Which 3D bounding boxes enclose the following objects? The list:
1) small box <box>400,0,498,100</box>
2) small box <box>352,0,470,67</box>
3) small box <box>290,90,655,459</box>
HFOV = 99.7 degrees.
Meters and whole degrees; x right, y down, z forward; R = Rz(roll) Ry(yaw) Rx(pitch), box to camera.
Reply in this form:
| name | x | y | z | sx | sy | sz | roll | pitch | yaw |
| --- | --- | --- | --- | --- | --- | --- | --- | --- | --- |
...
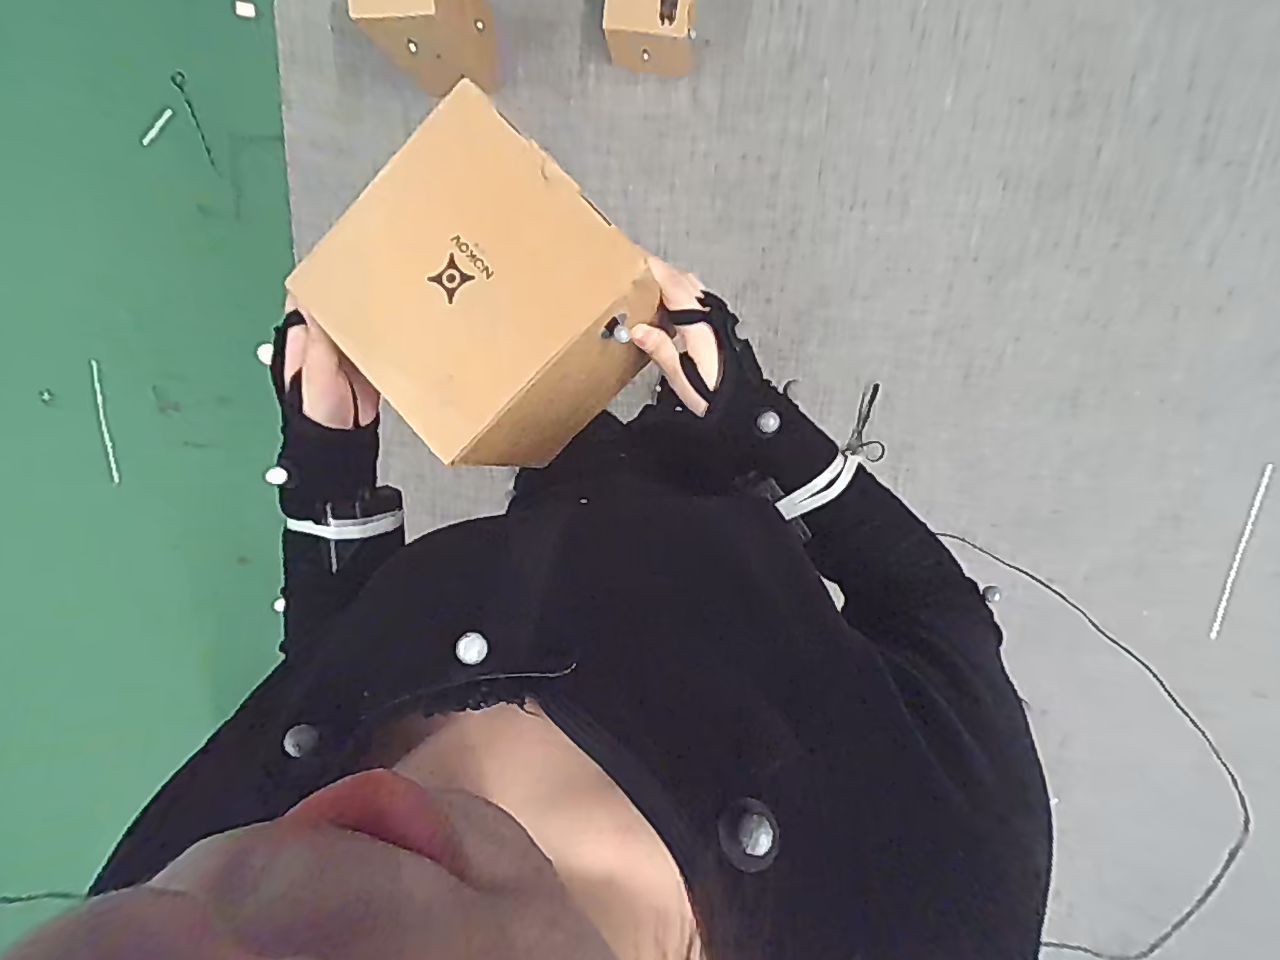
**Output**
| name | x | y | z | sx | sy | sz | roll | pitch | yaw |
| --- | --- | --- | --- | --- | --- | --- | --- | --- | --- |
| small box | -0.426 | -0.987 | 1.219 | 0.168 | 0.176 | 0.179 | 3 | 104 | 4 |
| small box | -0.443 | -0.945 | 1.060 | 0.168 | 0.176 | 0.179 | 2 | 104 | 4 |
| small box | -0.107 | -0.129 | 0.421 | 0.179 | 0.176 | 0.168 | -43 | 84 | 7 |
